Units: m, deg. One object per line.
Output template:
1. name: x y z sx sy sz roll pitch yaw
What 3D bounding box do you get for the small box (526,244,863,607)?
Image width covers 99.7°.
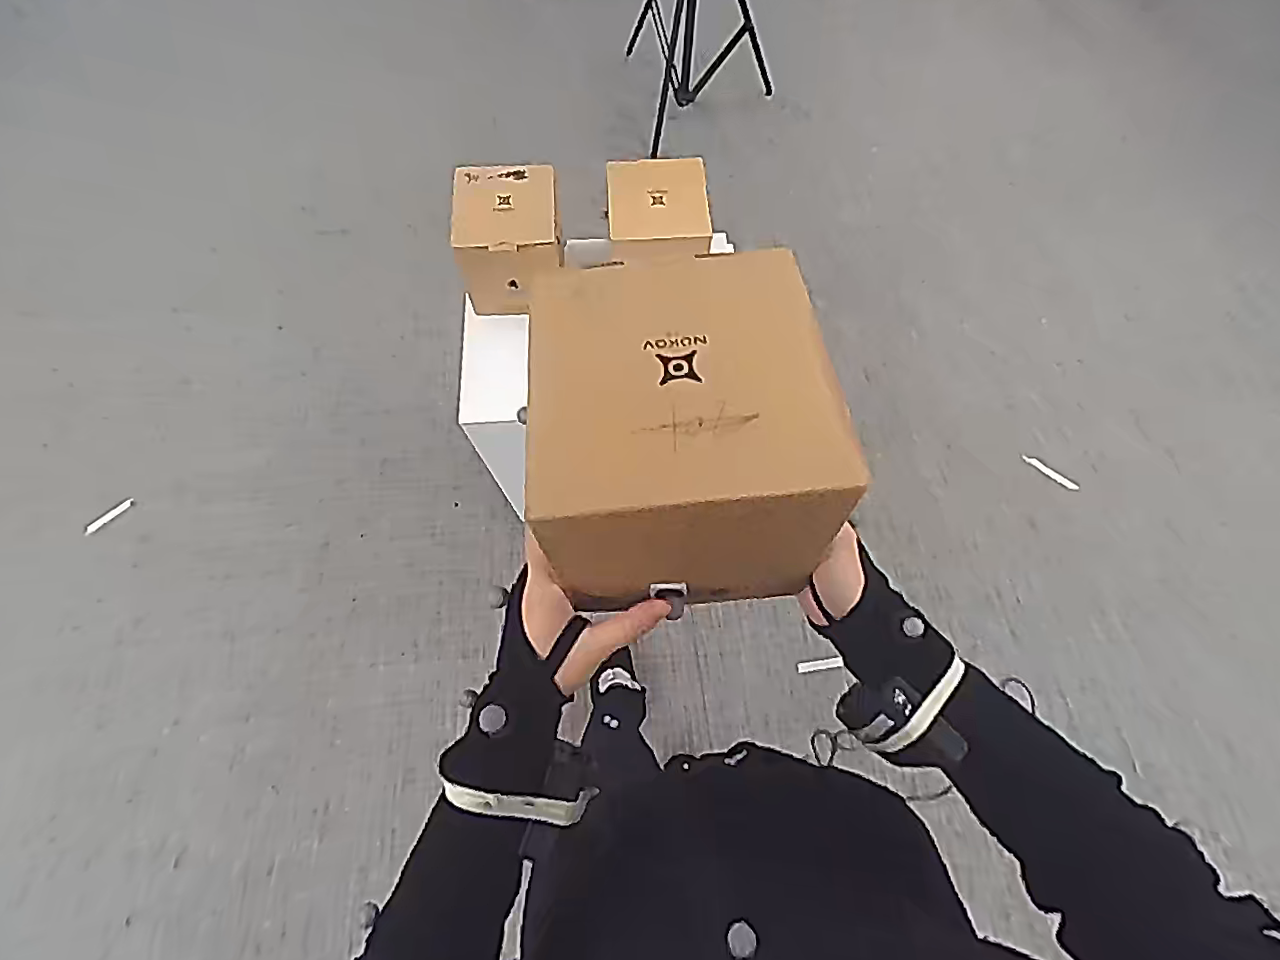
1. small box: 0.023 -0.028 0.369 0.168 0.176 0.179 -6 61 0

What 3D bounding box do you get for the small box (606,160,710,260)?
1. small box: 0.028 -0.432 0.964 0.168 0.176 0.179 -4 69 -2

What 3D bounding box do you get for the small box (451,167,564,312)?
1. small box: -0.222 -0.412 0.952 0.168 0.176 0.179 -3 70 -3
